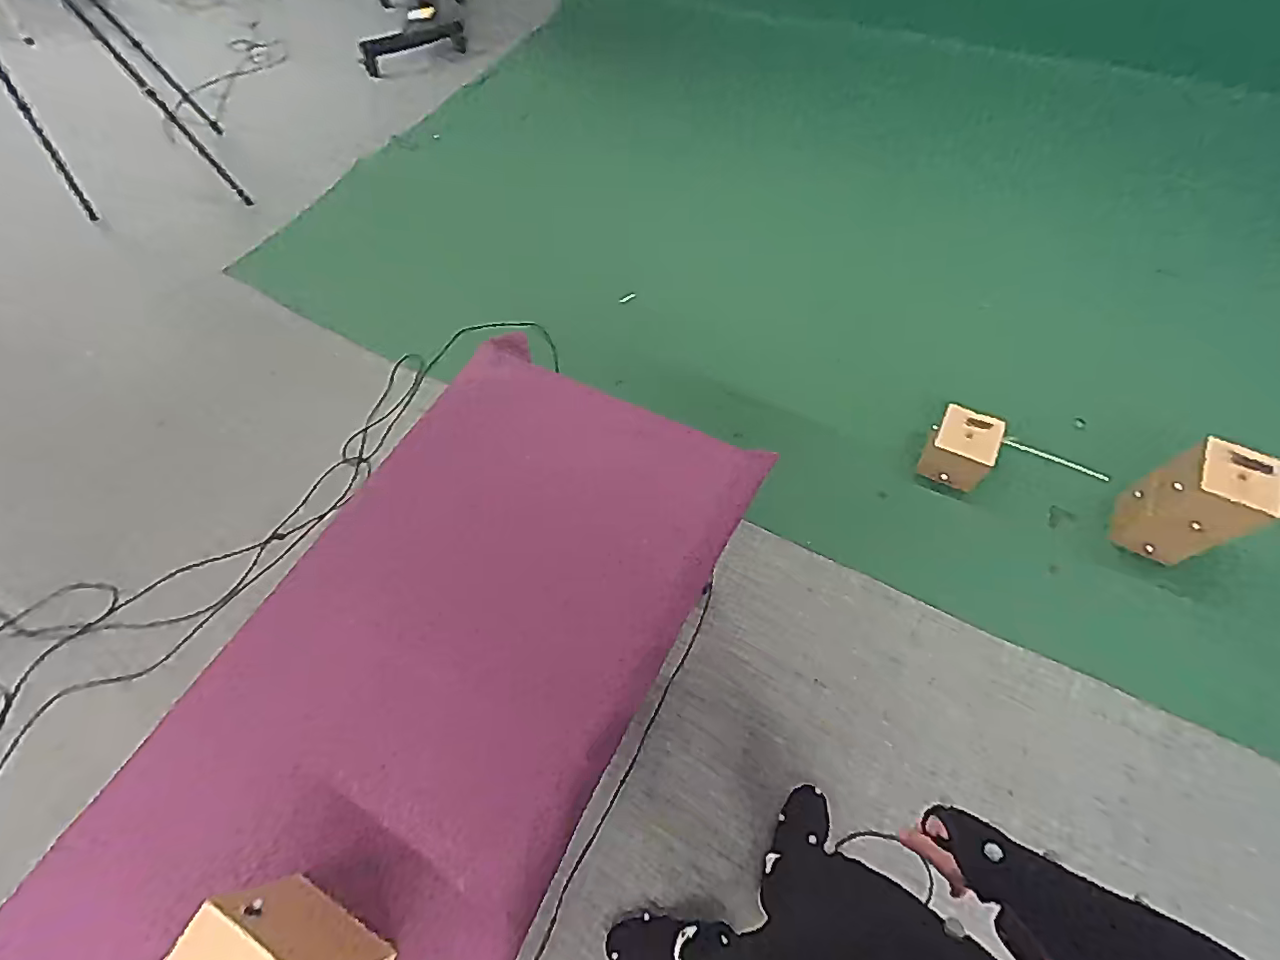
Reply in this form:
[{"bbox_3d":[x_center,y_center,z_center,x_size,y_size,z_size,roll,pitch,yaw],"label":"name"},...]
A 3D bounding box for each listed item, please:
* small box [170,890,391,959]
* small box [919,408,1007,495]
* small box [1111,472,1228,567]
[{"bbox_3d":[-0.414,0.588,0.590,0.179,0.176,0.168,22,65,17],"label":"small box"},{"bbox_3d":[0.996,-0.086,1.678,0.168,0.176,0.179,24,67,18],"label":"small box"},{"bbox_3d":[1.483,0.114,1.523,0.168,0.176,0.179,27,66,18],"label":"small box"}]
